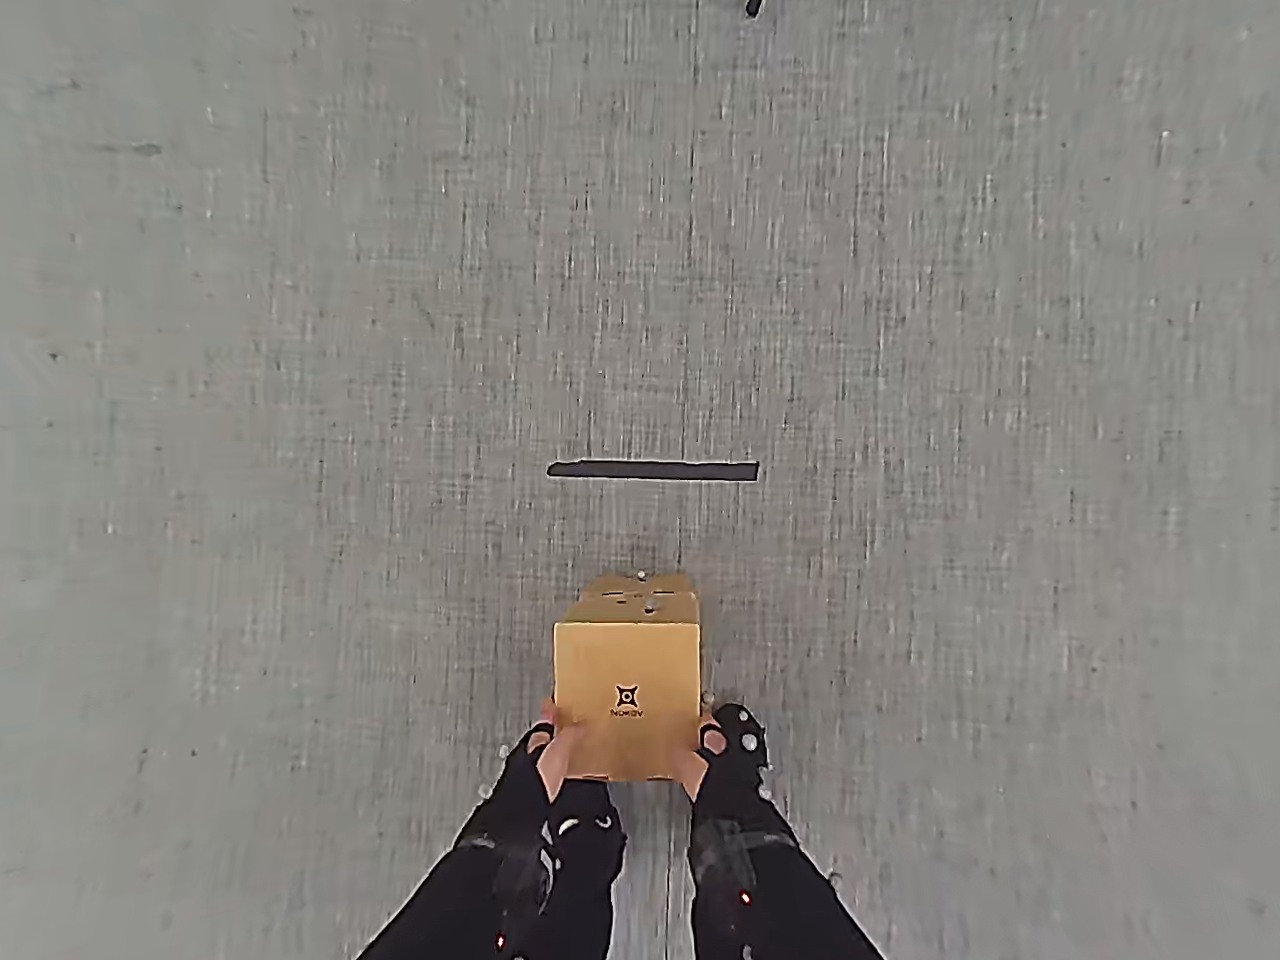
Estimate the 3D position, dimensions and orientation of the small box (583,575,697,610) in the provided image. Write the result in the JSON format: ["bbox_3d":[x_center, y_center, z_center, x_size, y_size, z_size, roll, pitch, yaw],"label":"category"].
[{"bbox_3d":[0.005,0.250,0.846,0.168,0.176,0.179,-2,88,2],"label":"small box"}]

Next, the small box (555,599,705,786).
[{"bbox_3d":[-0.007,0.246,0.669,0.168,0.176,0.179,-1,88,5],"label":"small box"}]
